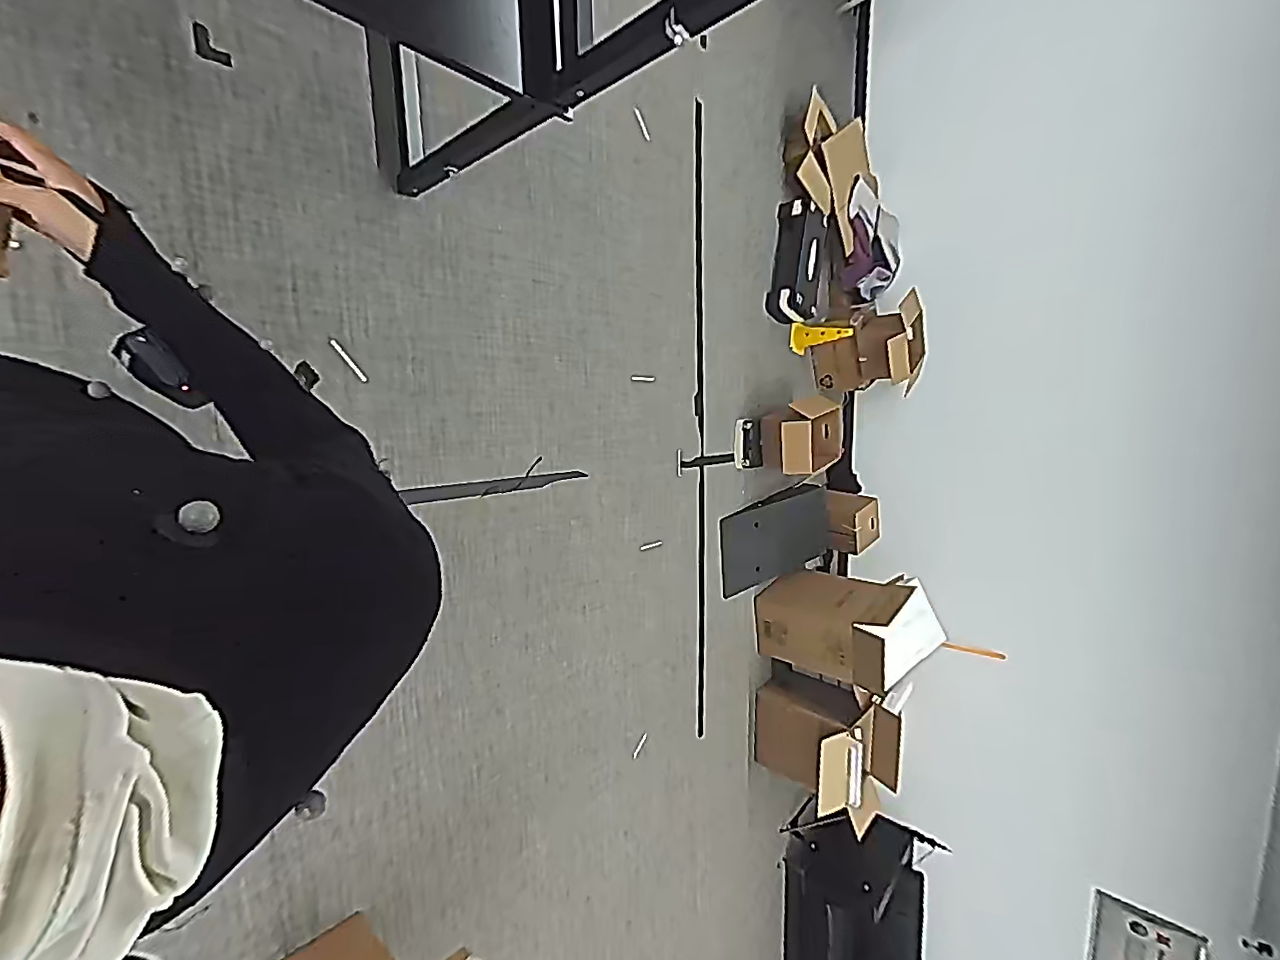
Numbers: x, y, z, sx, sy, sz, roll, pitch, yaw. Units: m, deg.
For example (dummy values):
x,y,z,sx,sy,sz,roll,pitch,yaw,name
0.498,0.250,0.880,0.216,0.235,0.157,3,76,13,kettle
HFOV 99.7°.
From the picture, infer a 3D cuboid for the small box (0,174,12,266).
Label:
x,y,z,sx,sy,sz,roll,pitch,yaw,name
-0.640,-0.270,0.413,0.168,0.176,0.179,-26,102,-51,small box
